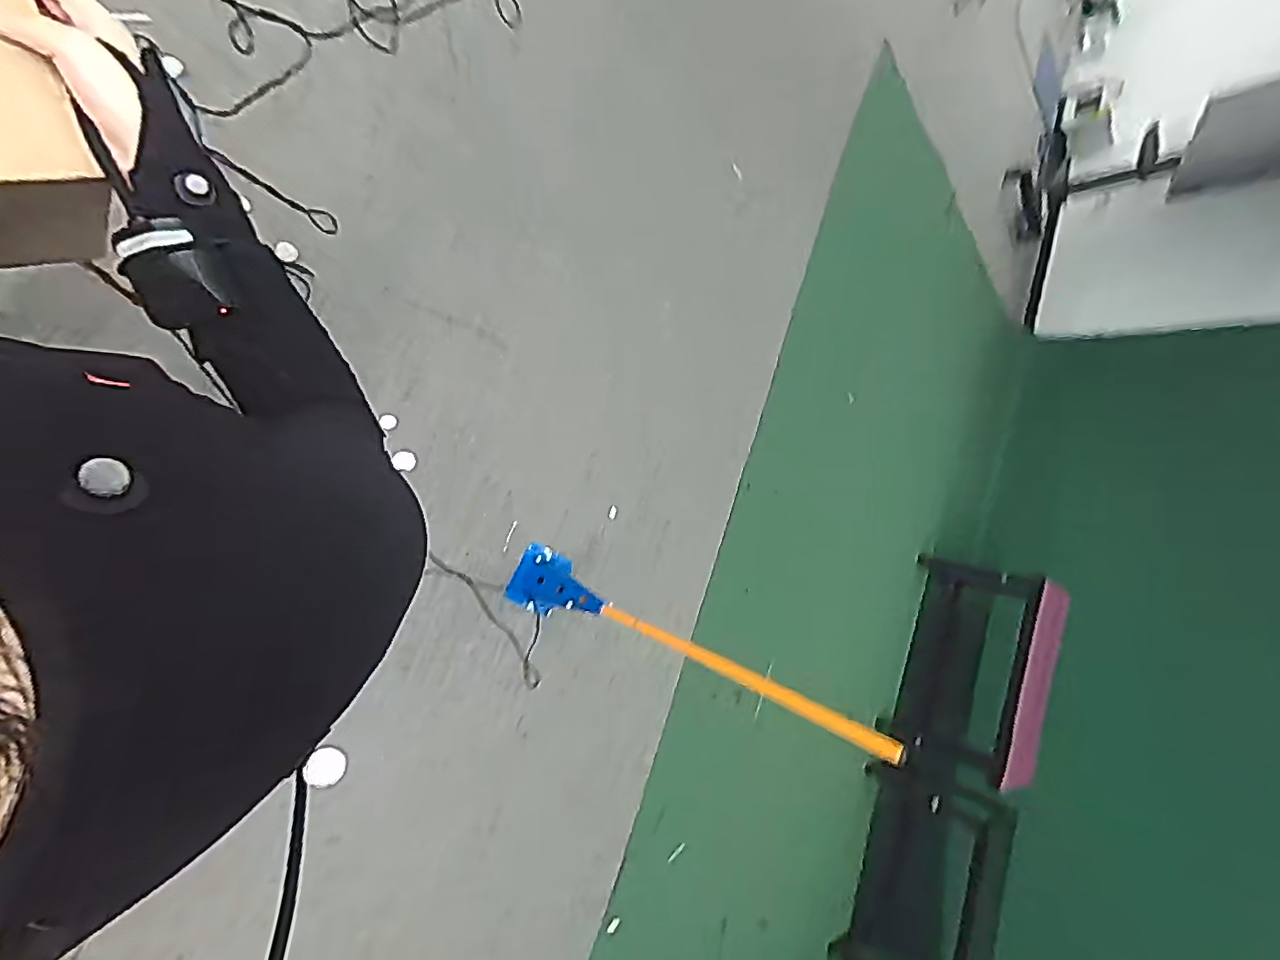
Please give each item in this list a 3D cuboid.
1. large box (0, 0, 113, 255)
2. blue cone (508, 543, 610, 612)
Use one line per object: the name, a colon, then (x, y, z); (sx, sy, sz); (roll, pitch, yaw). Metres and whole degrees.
large box: (-0.633, -0.297, 0.299); (0.408, 0.320, 0.320); (-30, 117, -40)
blue cone: (-0.228, 0.336, 1.671); (0.192, 0.380, 0.193); (38, 71, -39)
